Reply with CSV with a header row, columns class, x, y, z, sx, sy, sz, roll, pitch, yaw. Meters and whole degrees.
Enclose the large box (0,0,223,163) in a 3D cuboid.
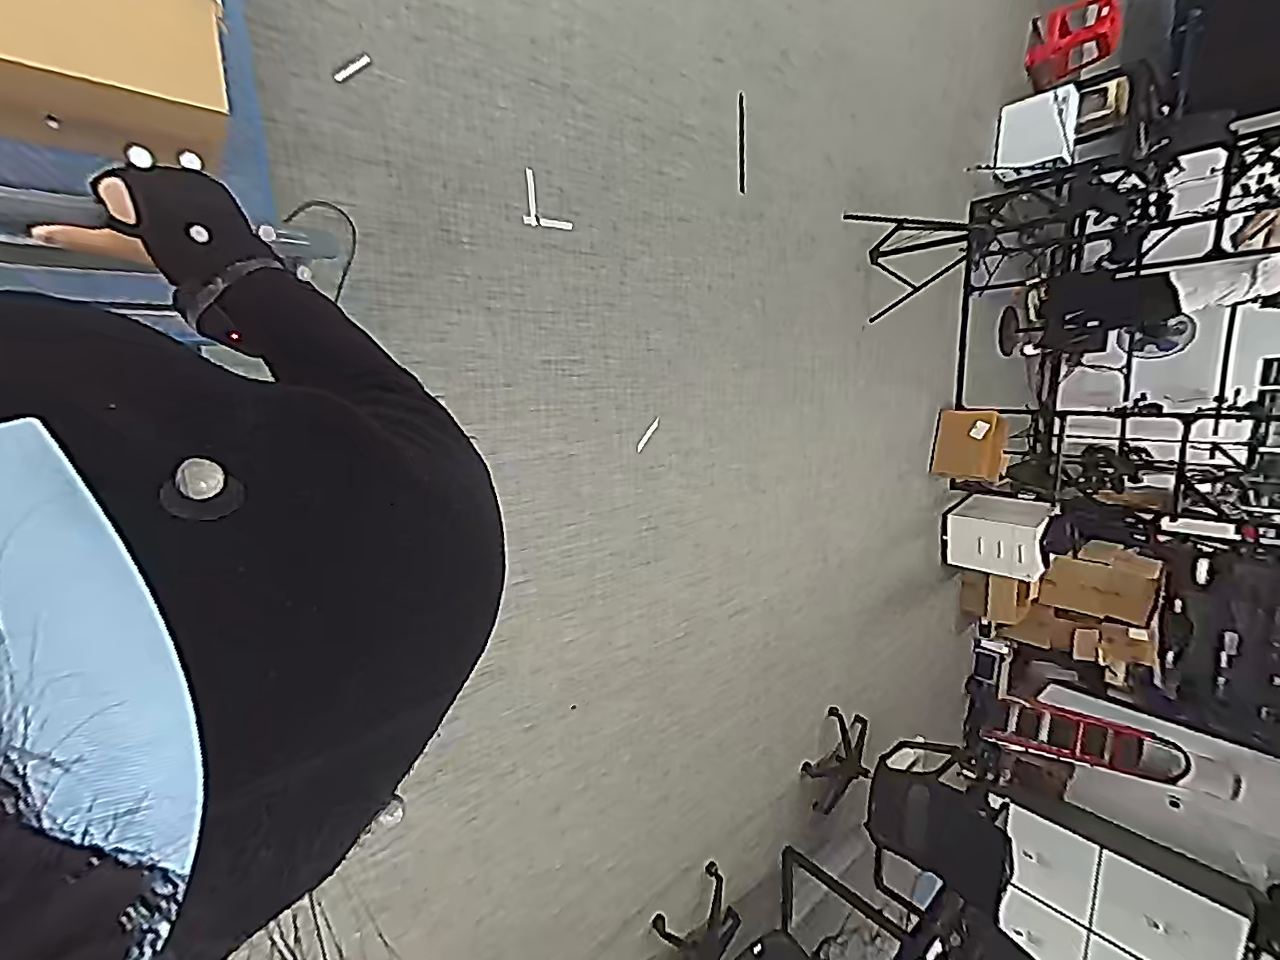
class,x,y,z,sx,sy,sz,roll,pitch,yaw
large box,-0.867,-0.694,0.759,0.408,0.320,0.320,-10,103,-39
